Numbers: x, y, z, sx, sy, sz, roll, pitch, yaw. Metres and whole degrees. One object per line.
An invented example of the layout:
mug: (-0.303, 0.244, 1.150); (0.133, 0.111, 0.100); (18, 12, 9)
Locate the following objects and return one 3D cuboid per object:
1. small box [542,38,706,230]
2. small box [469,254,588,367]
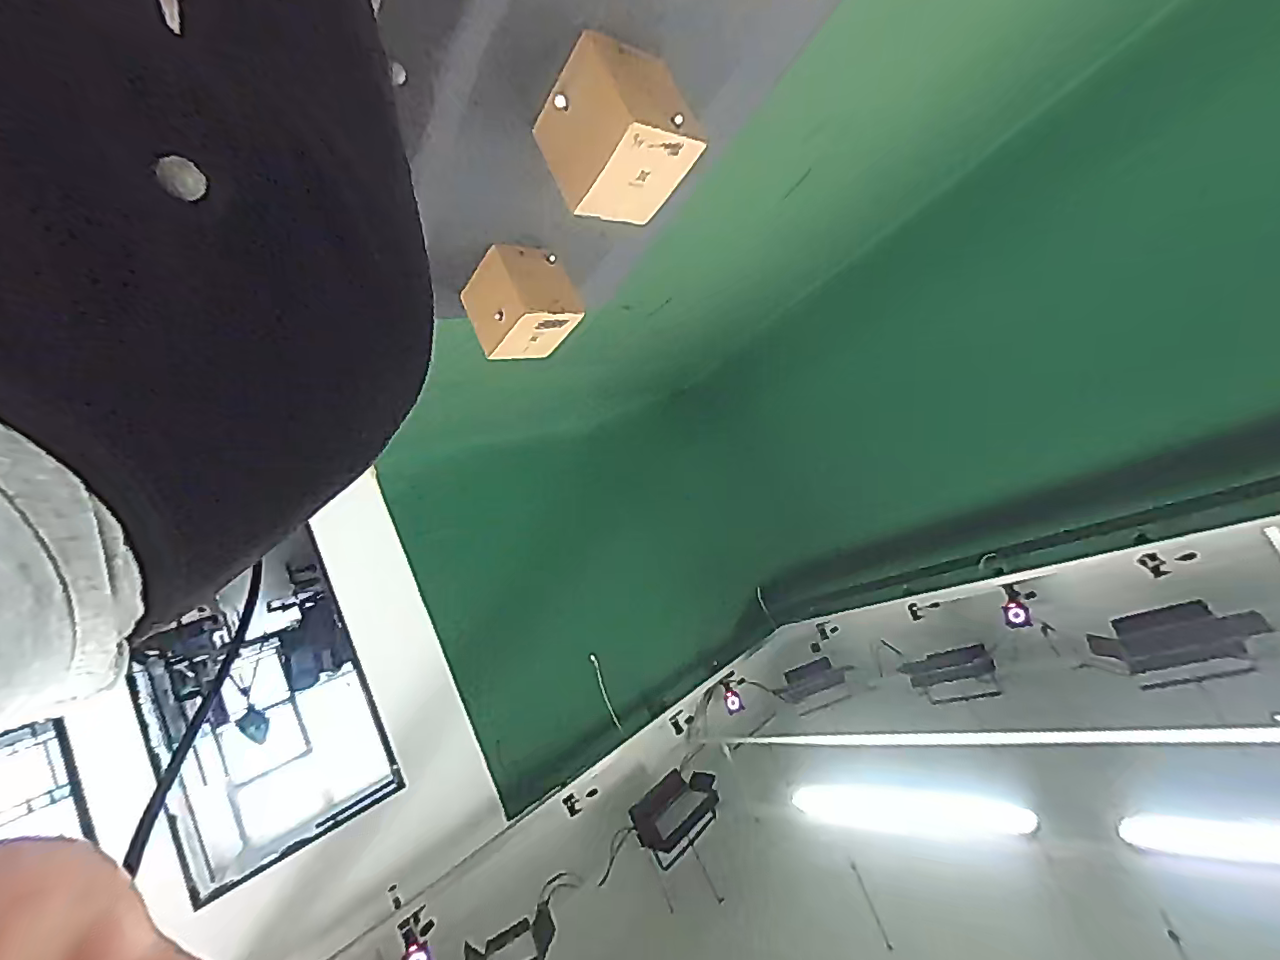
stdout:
small box: (-0.034, -0.534, 0.859); (0.168, 0.176, 0.179); (-18, 170, -42)
small box: (-0.253, -0.372, 1.194); (0.168, 0.176, 0.179); (-16, 168, -46)
